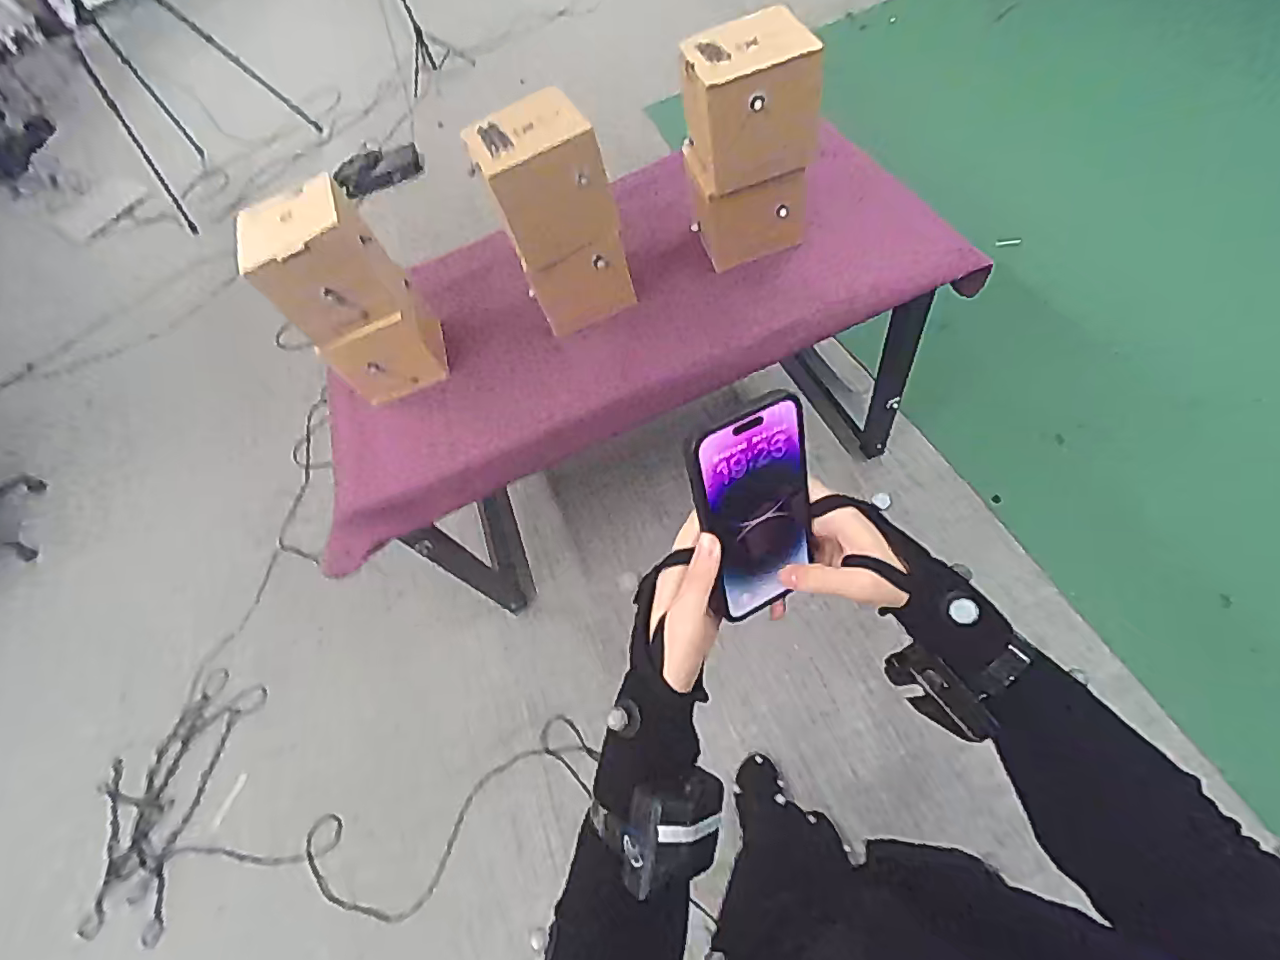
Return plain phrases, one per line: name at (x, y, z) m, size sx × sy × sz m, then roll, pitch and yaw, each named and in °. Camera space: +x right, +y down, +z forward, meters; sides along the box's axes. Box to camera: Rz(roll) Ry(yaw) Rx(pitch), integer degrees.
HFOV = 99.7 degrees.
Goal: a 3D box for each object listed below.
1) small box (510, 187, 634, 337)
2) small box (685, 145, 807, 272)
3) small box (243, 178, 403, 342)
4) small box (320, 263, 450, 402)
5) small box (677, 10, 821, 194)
small box at (-0.121, -0.409, 1.030) m, size 0.179 × 0.176 × 0.168 m, roll -23°, pitch 58°, yaw 1°
small box at (0.197, -0.529, 1.018) m, size 0.179 × 0.176 × 0.168 m, roll -18°, pitch 58°, yaw 5°
small box at (-0.527, -0.360, 0.914) m, size 0.168 × 0.176 × 0.179 m, roll -26°, pitch 59°, yaw -2°
small box at (-0.488, -0.274, 1.049) m, size 0.168 × 0.176 × 0.179 m, roll -22°, pitch 58°, yaw 1°
small box at (0.175, -0.599, 0.871) m, size 0.179 × 0.176 × 0.168 m, roll -17°, pitch 58°, yaw 4°
